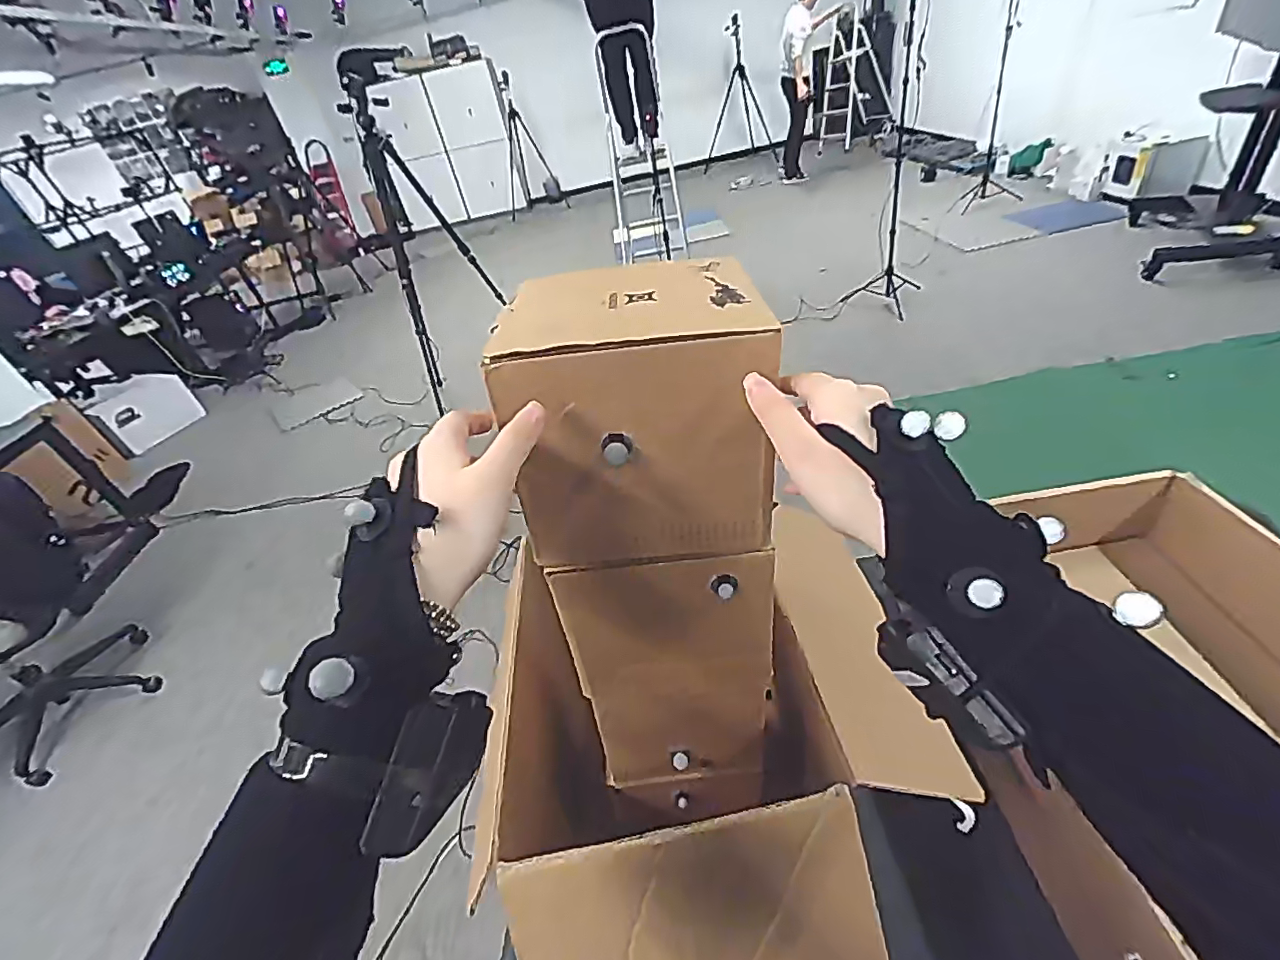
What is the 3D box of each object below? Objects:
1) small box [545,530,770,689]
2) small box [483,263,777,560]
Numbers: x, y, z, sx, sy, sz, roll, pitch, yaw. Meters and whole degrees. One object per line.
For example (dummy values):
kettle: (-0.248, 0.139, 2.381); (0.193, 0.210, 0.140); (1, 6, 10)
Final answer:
small box: (0.018, 0.080, 0.516); (0.179, 0.176, 0.168); (-6, 37, 1)
small box: (0.001, -0.053, 0.421); (0.179, 0.176, 0.168); (-5, 36, 2)
